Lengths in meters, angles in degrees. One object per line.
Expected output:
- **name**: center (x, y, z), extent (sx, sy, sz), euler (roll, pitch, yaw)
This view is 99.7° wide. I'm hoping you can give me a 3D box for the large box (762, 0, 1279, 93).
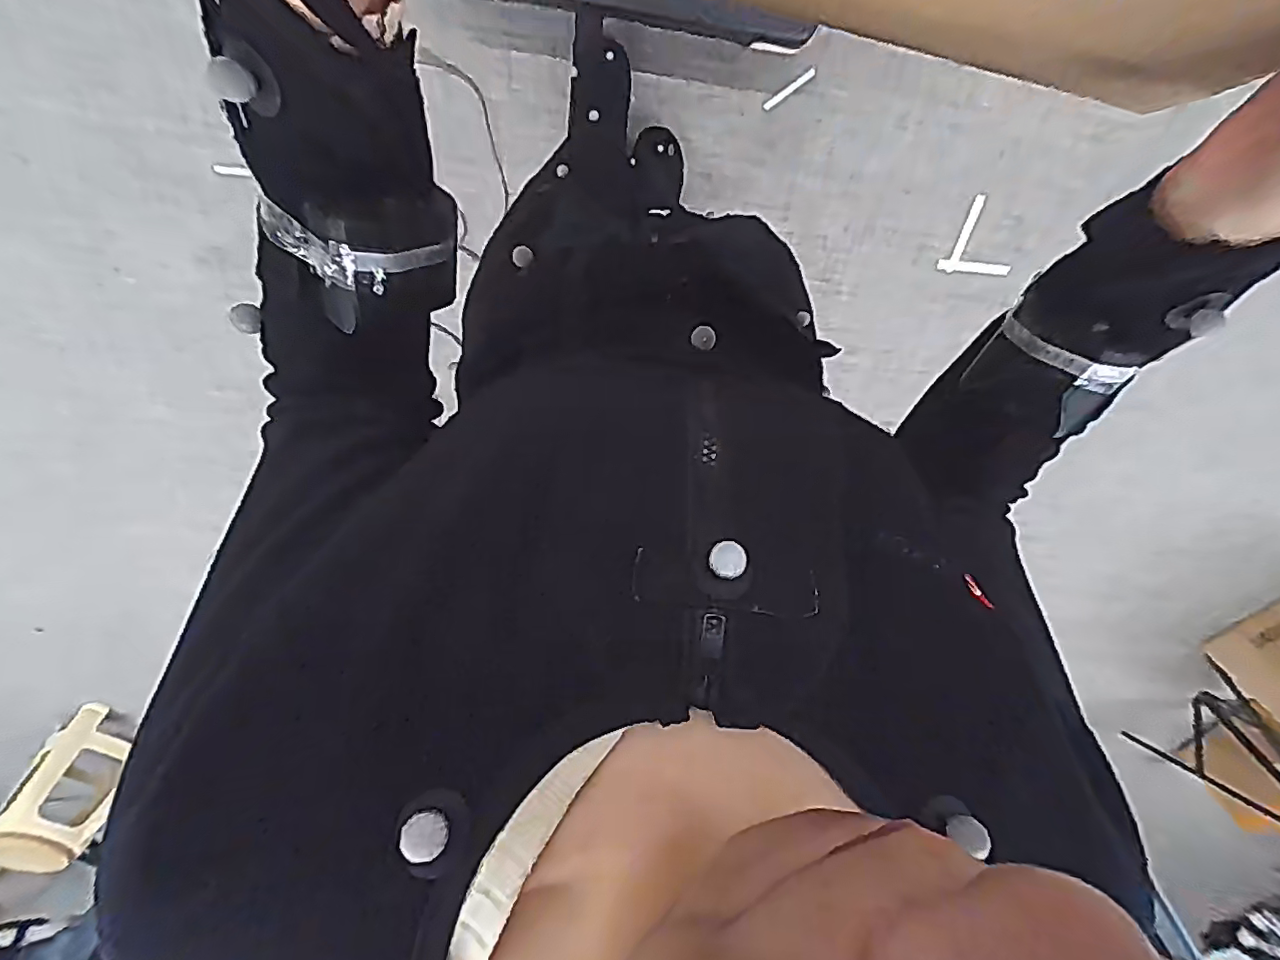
- **large box**: center (0.115, -0.330, 0.087), extent (0.408, 0.320, 0.320), euler (8, 110, -7)
